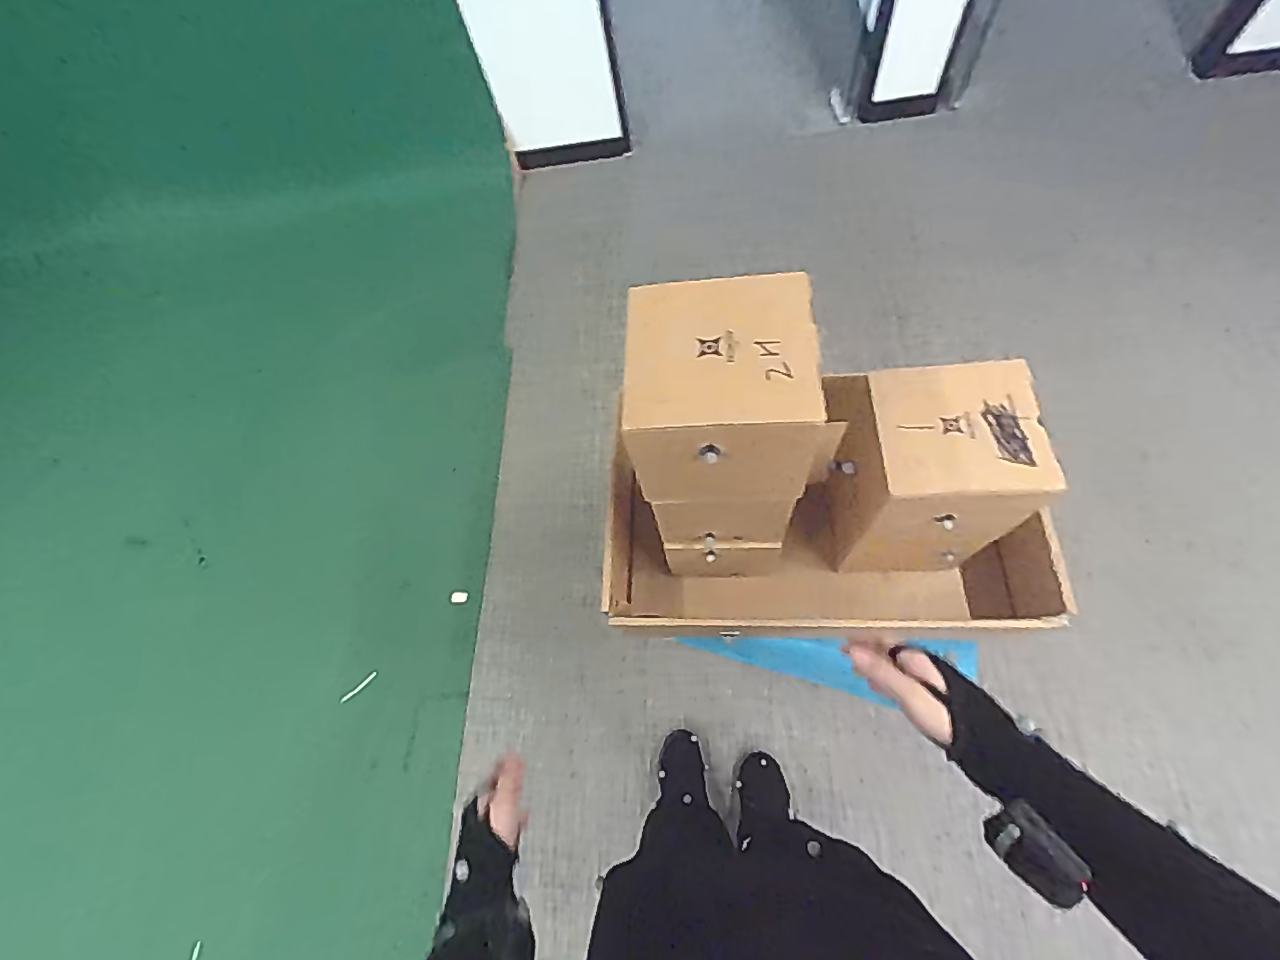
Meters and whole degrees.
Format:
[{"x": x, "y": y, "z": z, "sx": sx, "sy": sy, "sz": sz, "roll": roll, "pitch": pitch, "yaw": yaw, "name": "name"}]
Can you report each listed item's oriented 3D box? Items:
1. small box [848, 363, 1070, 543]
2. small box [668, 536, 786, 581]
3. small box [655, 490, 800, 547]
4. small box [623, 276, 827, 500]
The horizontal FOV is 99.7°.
[{"x": 0.371, "y": -0.024, "z": 0.669, "sx": 0.179, "sy": 0.176, "sz": 0.168, "roll": -3, "pitch": 65, "yaw": 10, "name": "small box"}, {"x": 0.134, "y": 0.052, "z": 0.856, "sx": 0.168, "sy": 0.176, "sz": 0.179, "roll": -2, "pitch": 65, "yaw": 8, "name": "small box"}, {"x": 0.110, "y": -0.020, "z": 0.713, "sx": 0.168, "sy": 0.176, "sz": 0.179, "roll": -2, "pitch": 66, "yaw": 8, "name": "small box"}, {"x": 0.086, "y": -0.083, "z": 0.563, "sx": 0.179, "sy": 0.176, "sz": 0.168, "roll": -1, "pitch": 66, "yaw": 9, "name": "small box"}]
